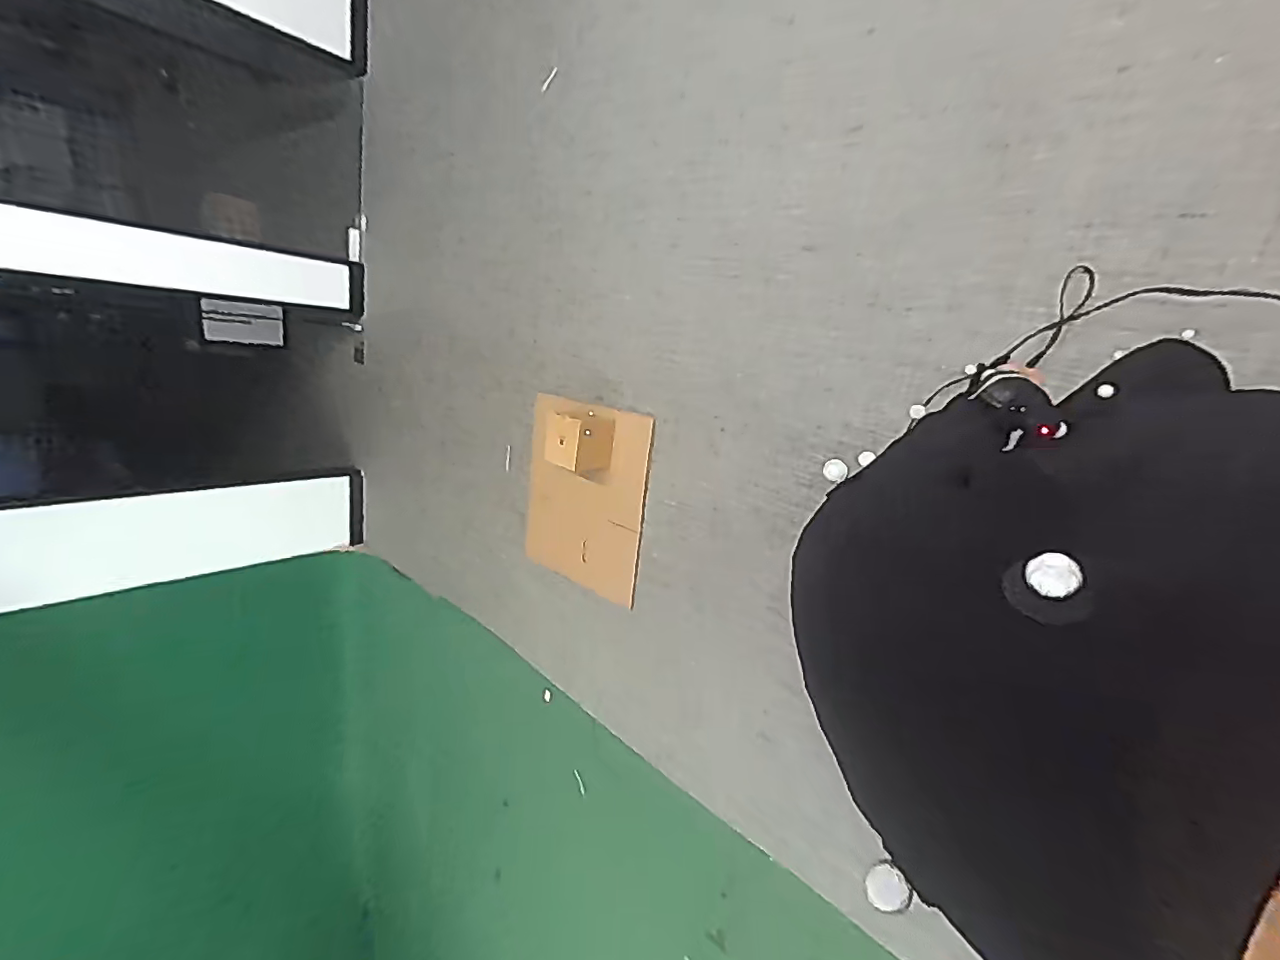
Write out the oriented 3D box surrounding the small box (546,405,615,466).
[{"bbox_3d":[-0.206,-0.160,1.882,0.168,0.176,0.179,20,108,38],"label":"small box"}]
